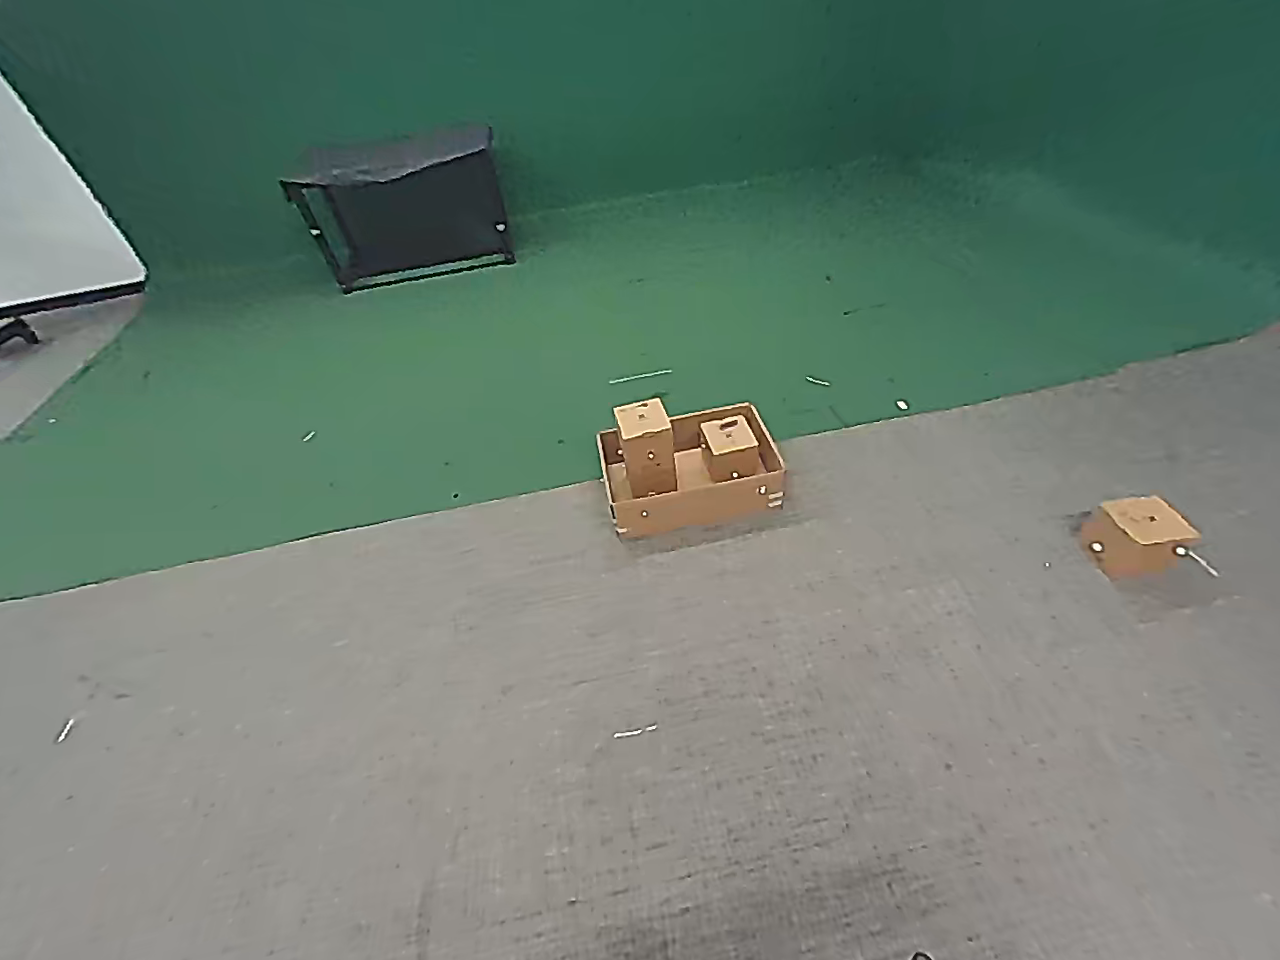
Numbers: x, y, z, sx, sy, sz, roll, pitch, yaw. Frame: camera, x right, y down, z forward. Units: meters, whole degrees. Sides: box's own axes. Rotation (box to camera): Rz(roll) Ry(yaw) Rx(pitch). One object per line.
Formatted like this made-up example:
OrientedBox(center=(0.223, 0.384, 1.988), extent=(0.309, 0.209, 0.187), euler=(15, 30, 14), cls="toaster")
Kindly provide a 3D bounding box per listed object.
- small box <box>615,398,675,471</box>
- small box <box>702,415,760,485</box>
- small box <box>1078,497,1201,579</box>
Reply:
OrientedBox(center=(0.020, -0.149, 1.849), extent=(0.168, 0.176, 0.179), euler=(-13, 46, -5), cls="small box")
OrientedBox(center=(0.330, -0.108, 1.992), extent=(0.168, 0.176, 0.179), euler=(-13, 47, -3), cls="small box")
OrientedBox(center=(1.472, 0.174, 1.609), extent=(0.179, 0.176, 0.168), euler=(-8, 44, 1), cls="small box")
